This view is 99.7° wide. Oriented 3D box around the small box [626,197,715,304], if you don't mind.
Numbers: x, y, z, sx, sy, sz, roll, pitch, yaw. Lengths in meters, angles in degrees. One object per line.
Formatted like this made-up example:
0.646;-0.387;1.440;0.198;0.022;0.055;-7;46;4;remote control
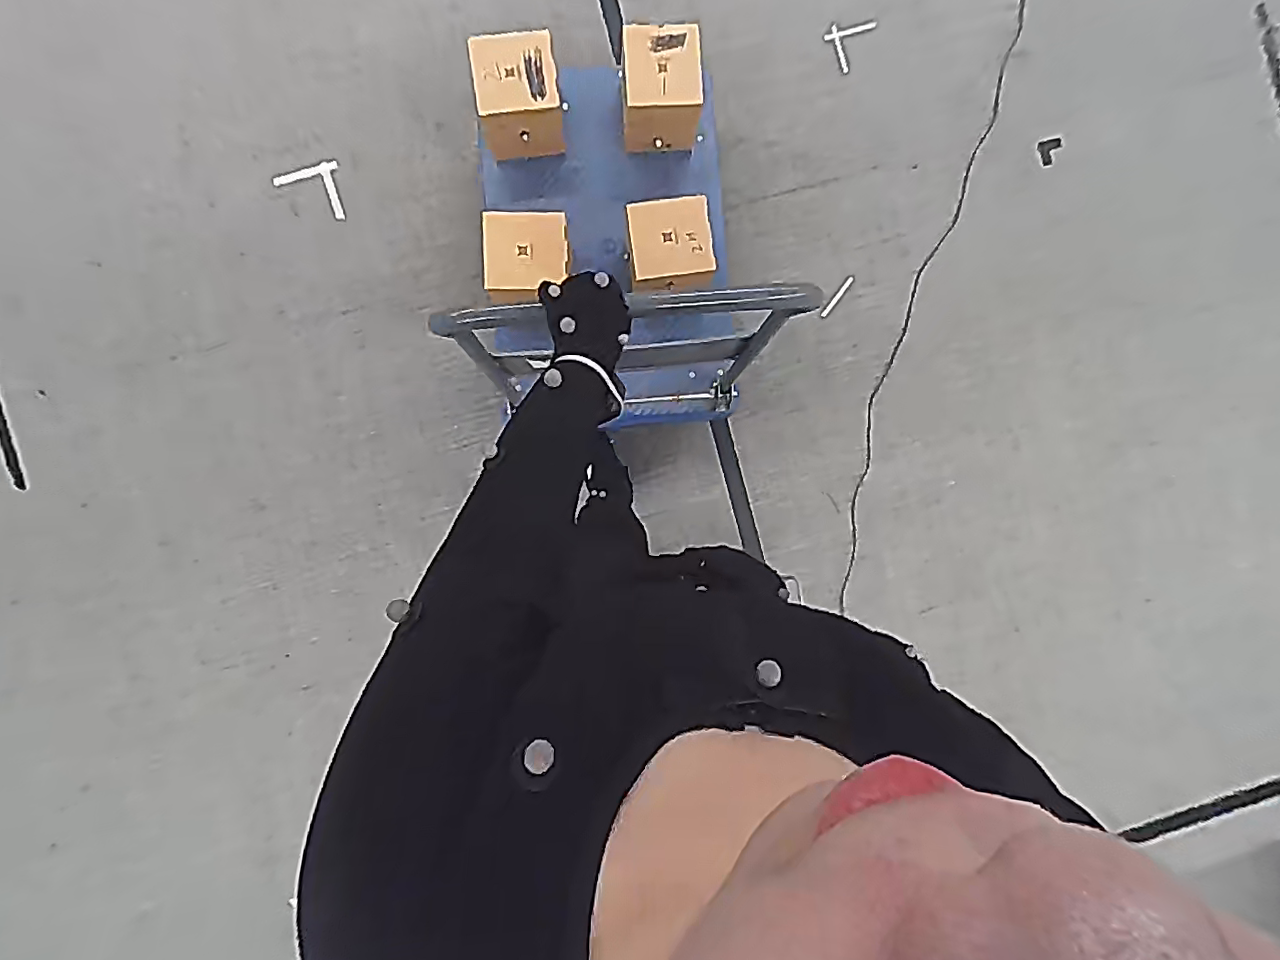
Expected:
0.064;-0.513;1.230;0.179;0.176;0.168;-8;90;-2;small box

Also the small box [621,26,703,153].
0.044;-0.883;1.233;0.168;0.176;0.179;-4;91;-3;small box

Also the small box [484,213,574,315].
-0.243;-0.478;1.216;0.179;0.176;0.168;-2;89;-4;small box
